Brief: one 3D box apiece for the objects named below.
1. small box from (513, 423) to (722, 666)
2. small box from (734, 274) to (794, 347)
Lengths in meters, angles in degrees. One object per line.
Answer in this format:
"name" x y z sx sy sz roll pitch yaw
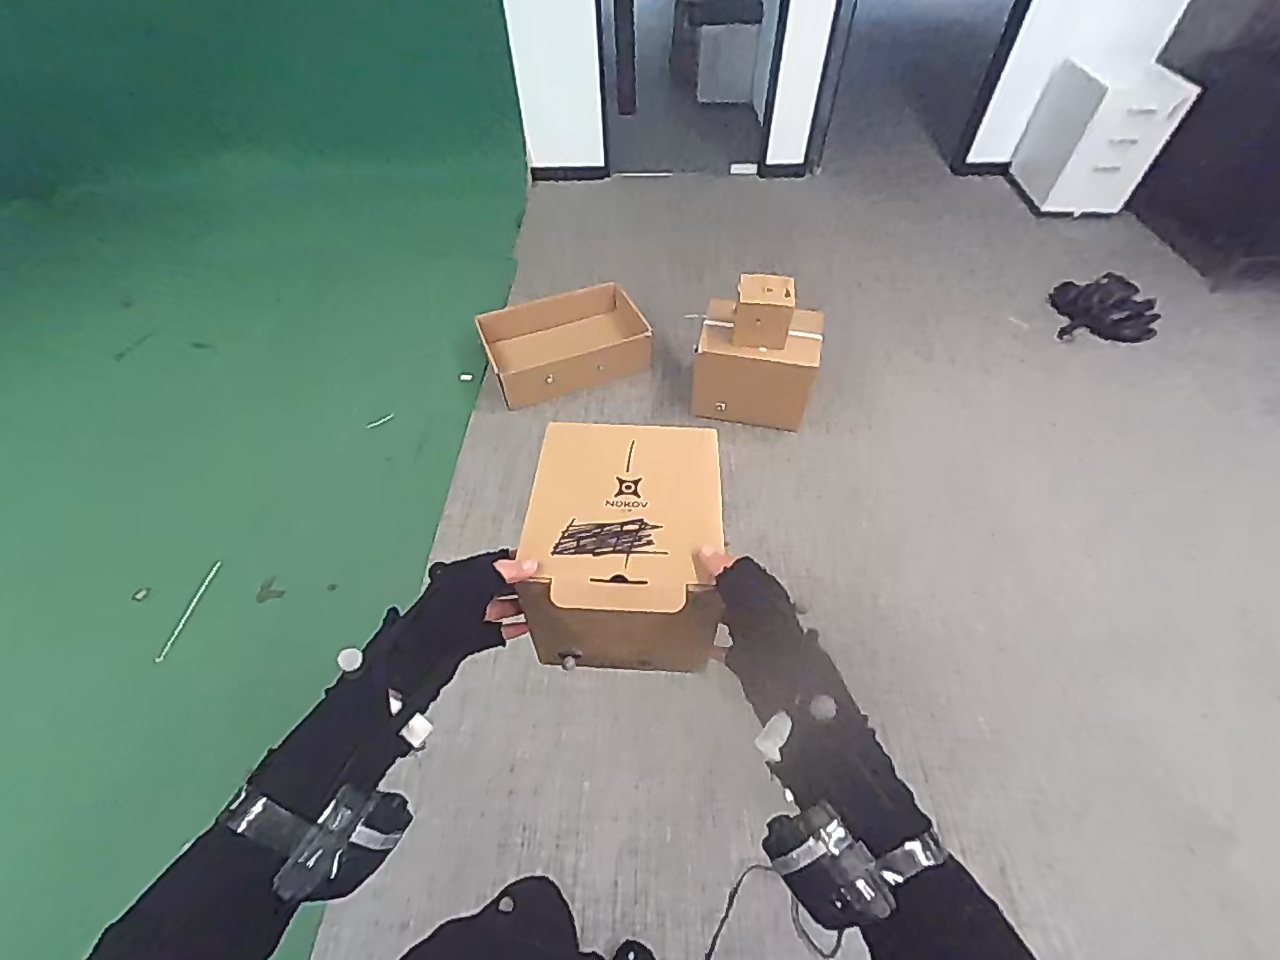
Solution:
"small box" -0.013 0.066 0.526 0.168 0.176 0.179 2 49 1
"small box" 0.407 -0.558 1.789 0.179 0.176 0.168 5 53 6
